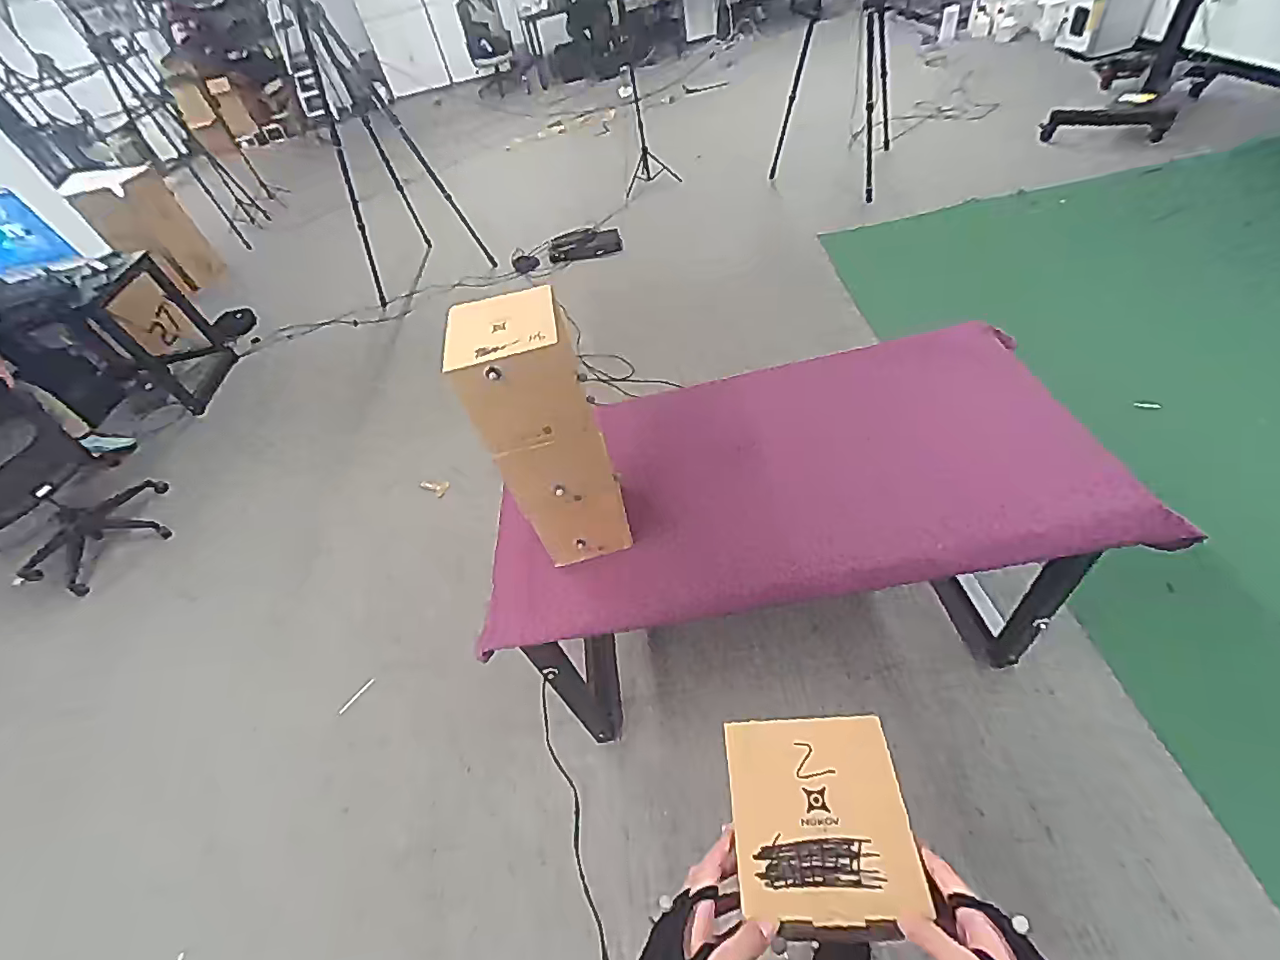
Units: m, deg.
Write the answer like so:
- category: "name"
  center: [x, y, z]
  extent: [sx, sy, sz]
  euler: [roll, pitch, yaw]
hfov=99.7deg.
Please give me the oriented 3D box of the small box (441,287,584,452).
- category: "small box"
  center: [-0.192, -0.172, 0.851]
  extent: [0.168, 0.176, 0.179]
  euler: [-14, 46, 1]

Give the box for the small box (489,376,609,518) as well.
- category: "small box"
  center: [-0.162, -0.062, 0.970]
  extent: [0.168, 0.176, 0.179]
  euler: [-16, 47, 0]

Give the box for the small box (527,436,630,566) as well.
- category: "small box"
  center: [-0.126, 0.044, 1.090]
  extent: [0.168, 0.176, 0.179]
  euler: [-15, 47, 0]
